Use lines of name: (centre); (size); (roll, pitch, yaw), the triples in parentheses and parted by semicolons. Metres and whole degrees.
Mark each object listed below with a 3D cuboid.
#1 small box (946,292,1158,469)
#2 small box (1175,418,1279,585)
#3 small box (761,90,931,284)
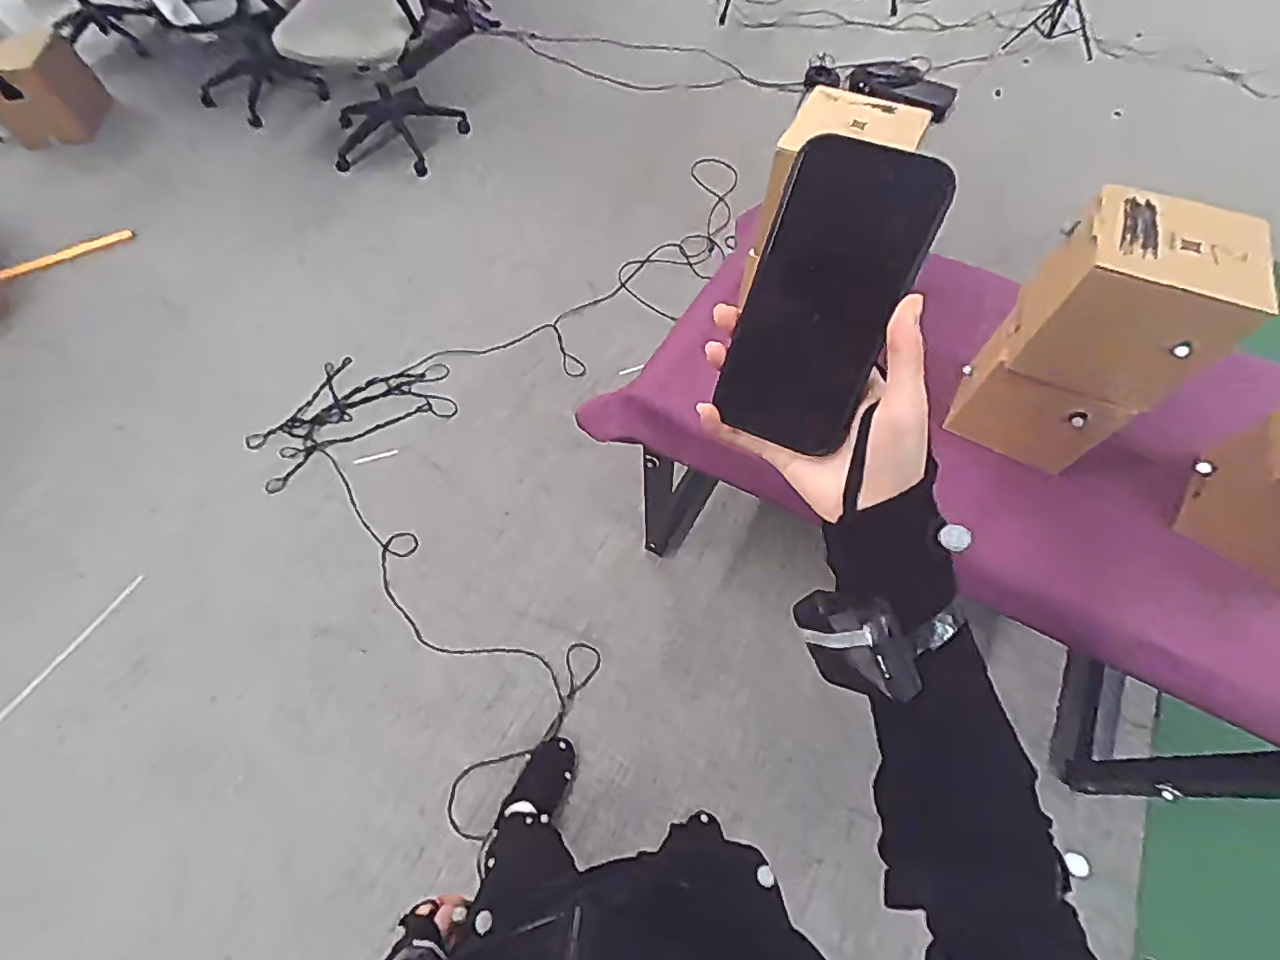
small box: (0.605, -0.140, 0.811); (0.179, 0.176, 0.168); (28, 65, 16)
small box: (0.885, 0.027, 0.712); (0.179, 0.176, 0.168); (34, 66, 19)
small box: (0.288, -0.421, 0.791); (0.168, 0.176, 0.179); (24, 65, 14)
